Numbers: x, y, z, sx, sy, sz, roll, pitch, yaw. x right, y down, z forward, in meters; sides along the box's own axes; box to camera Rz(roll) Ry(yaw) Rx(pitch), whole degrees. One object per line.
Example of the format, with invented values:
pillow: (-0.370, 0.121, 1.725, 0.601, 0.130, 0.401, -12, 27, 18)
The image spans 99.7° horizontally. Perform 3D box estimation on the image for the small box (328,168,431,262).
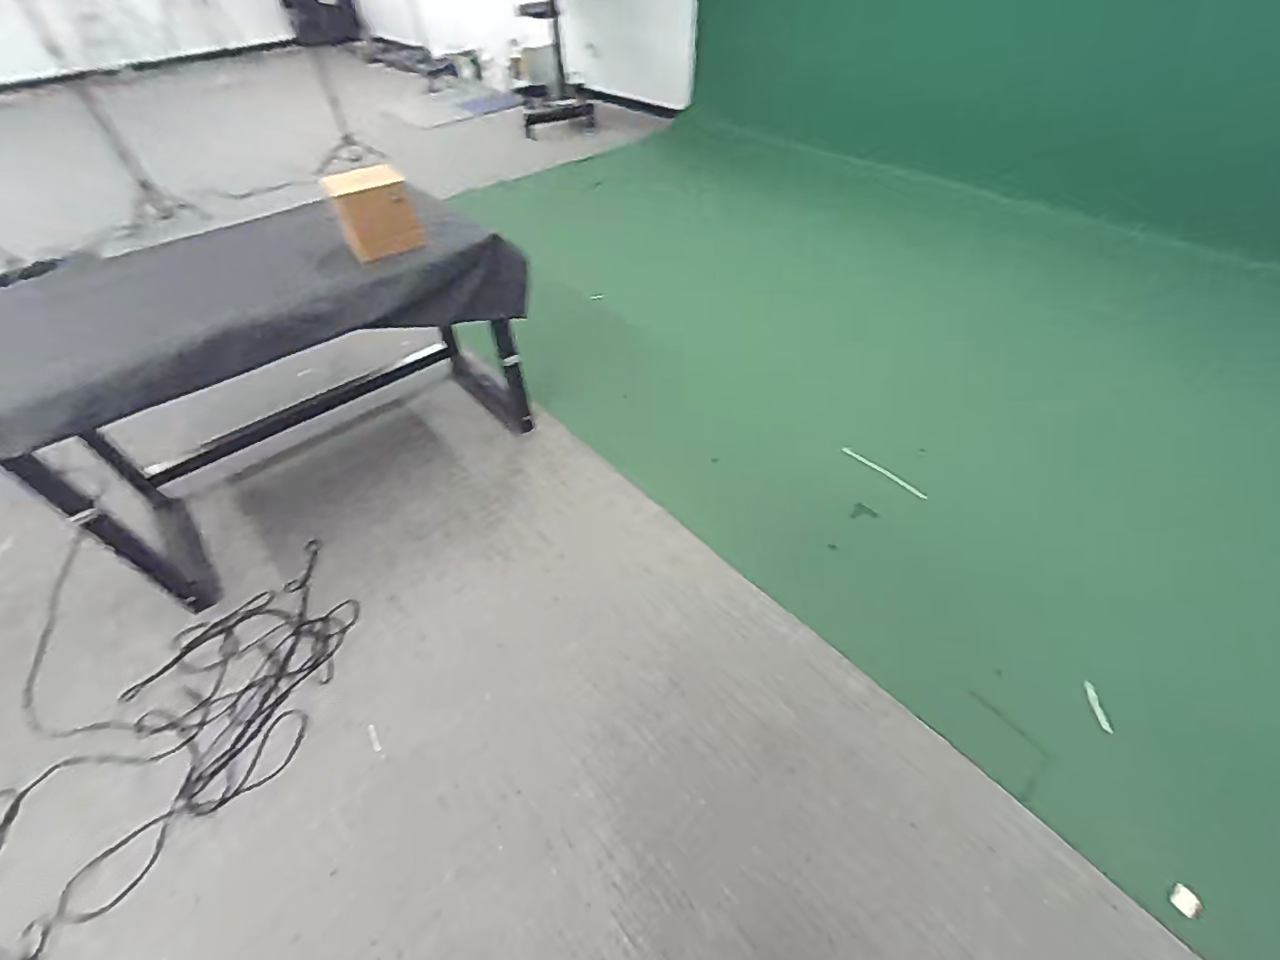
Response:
small box: (-0.684, -0.699, 1.431, 0.179, 0.176, 0.168, -27, 51, -21)
